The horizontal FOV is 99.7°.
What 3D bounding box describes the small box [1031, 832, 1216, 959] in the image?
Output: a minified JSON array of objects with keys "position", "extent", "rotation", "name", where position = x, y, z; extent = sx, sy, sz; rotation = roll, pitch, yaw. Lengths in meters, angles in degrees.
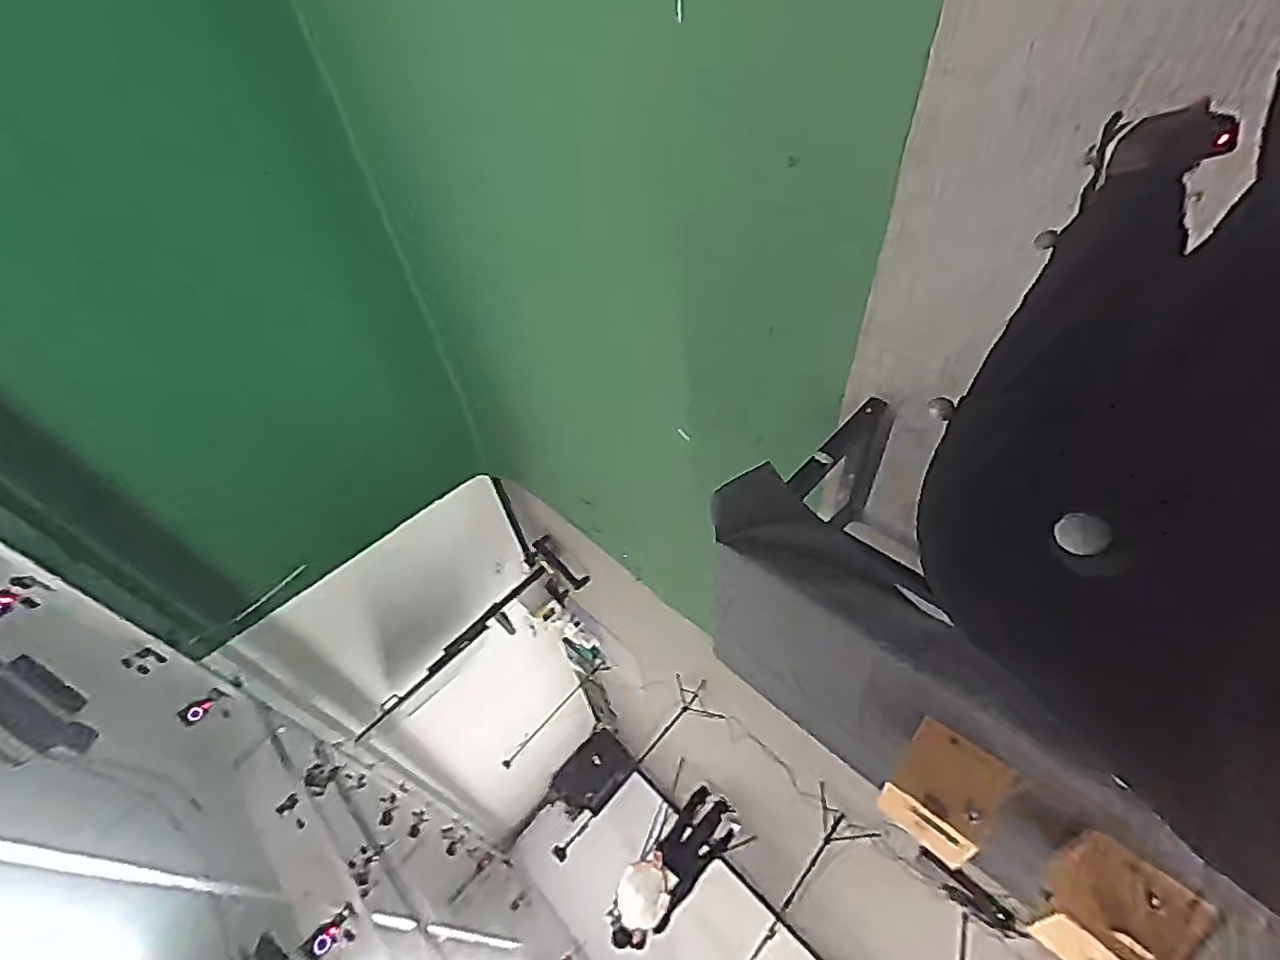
[{"position":[0.807,0.742,0.909],"extent":[0.168,0.176,0.179],"rotation":[31,147,36],"name":"small box"}]
